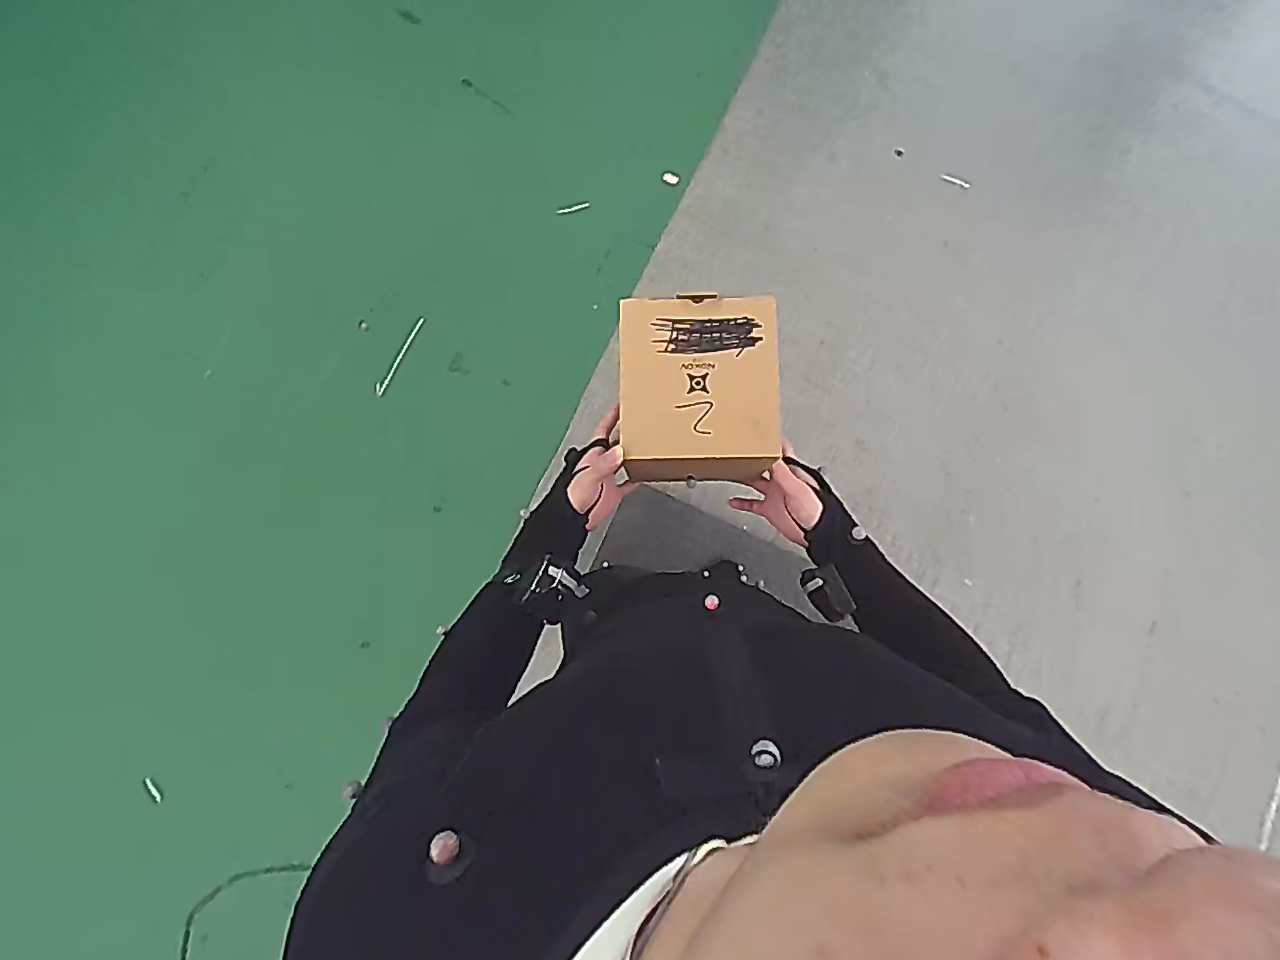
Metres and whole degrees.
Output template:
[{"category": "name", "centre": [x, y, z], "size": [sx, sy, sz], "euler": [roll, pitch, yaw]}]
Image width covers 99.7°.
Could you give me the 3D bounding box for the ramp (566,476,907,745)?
[{"category": "ramp", "centre": [0.323, 0.405, 1.667], "size": [0.991, 0.206, 0.509], "euler": [22, 82, 4]}]
